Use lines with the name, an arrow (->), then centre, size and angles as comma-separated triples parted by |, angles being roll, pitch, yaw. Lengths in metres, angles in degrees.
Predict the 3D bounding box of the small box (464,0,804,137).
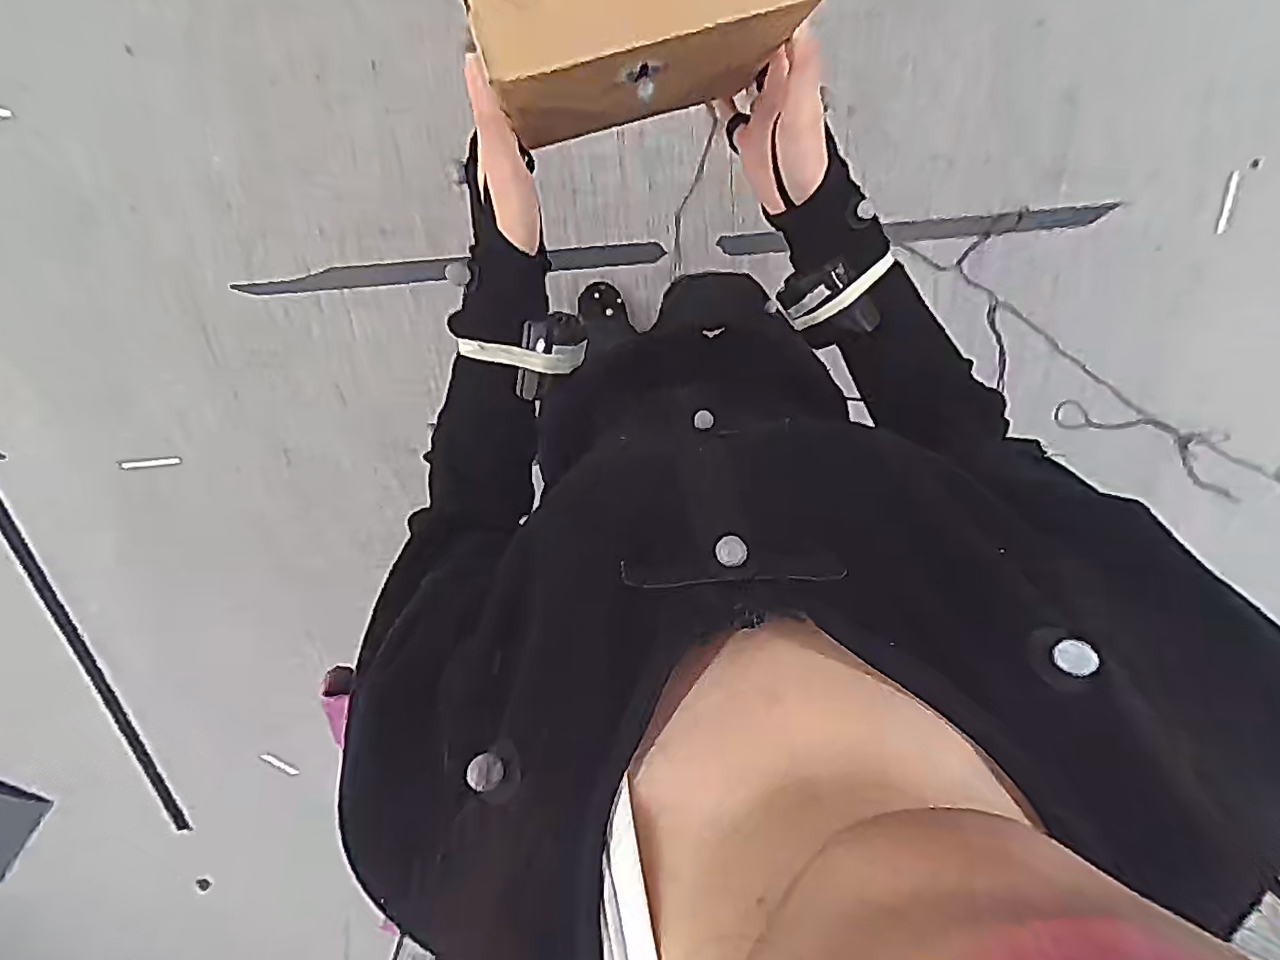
small box -> -0.018, -0.323, 0.311 | 0.179, 0.176, 0.168 | -15, 113, -1
